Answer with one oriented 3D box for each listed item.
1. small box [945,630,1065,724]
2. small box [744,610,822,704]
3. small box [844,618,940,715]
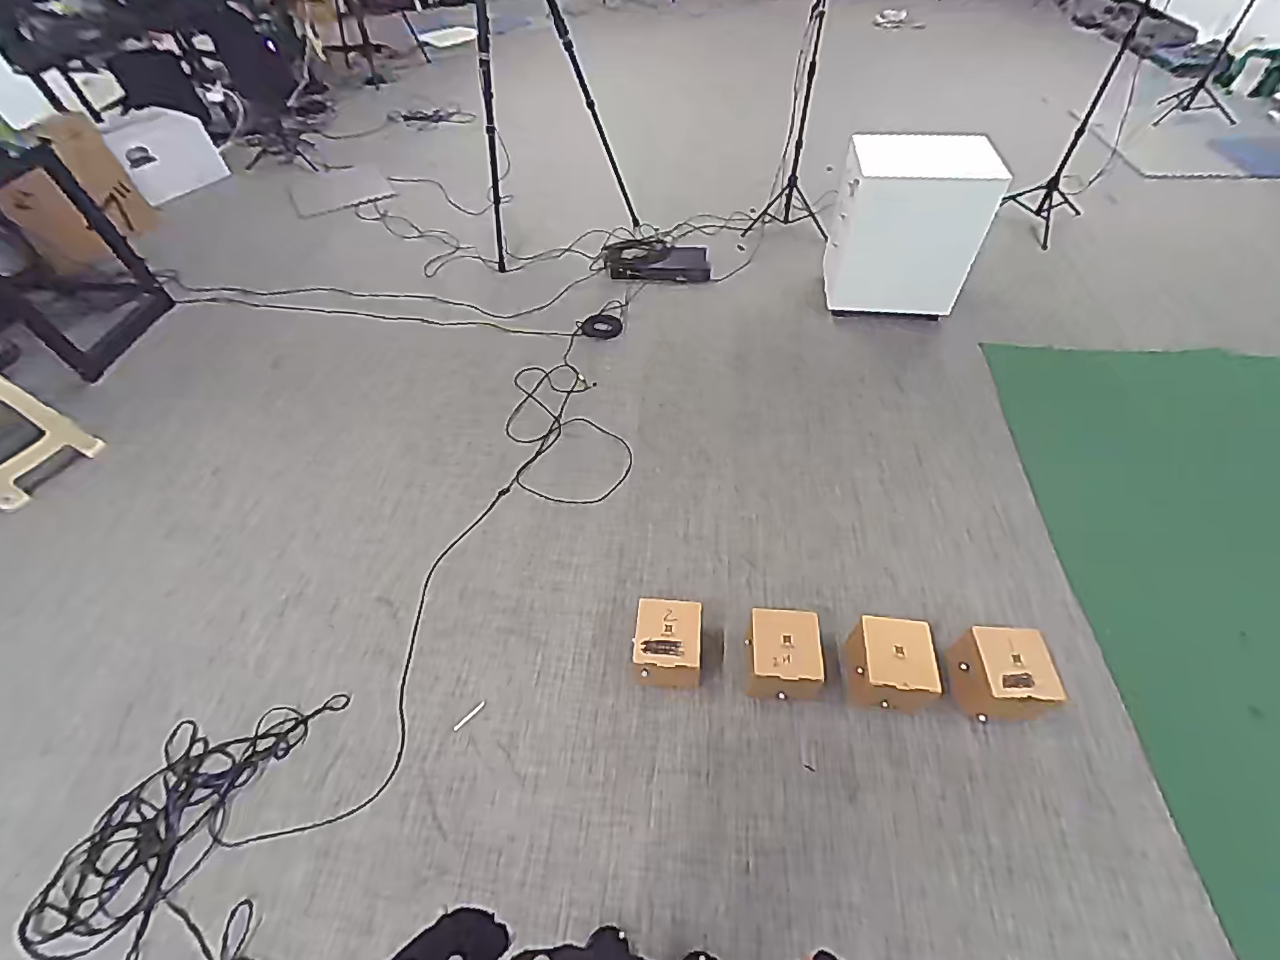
[{"bbox_3d":[0.894,0.492,1.344,0.168,0.176,0.179,2,51,4],"label":"small box"},{"bbox_3d":[0.360,0.456,1.394,0.168,0.176,0.179,3,52,6],"label":"small box"},{"bbox_3d":[0.627,0.475,1.370,0.168,0.176,0.179,5,52,6],"label":"small box"}]
